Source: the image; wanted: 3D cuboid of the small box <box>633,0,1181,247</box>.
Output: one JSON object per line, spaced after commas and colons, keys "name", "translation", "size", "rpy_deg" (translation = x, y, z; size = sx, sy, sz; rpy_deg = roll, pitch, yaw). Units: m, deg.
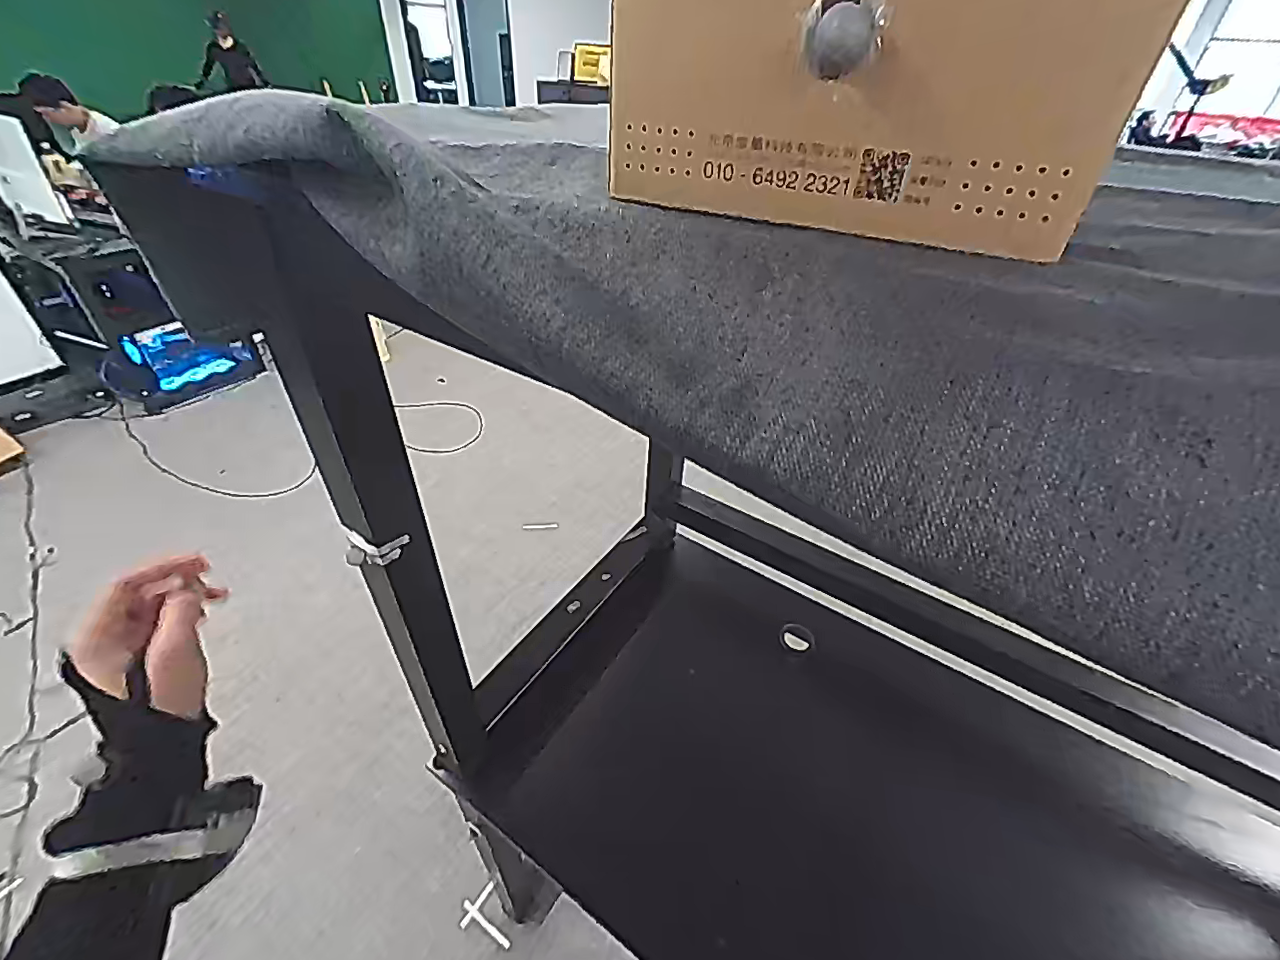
{"name": "small box", "translation": [0.102, -0.207, 0.213], "size": [0.168, 0.176, 0.179], "rpy_deg": [17, 39, 18]}
